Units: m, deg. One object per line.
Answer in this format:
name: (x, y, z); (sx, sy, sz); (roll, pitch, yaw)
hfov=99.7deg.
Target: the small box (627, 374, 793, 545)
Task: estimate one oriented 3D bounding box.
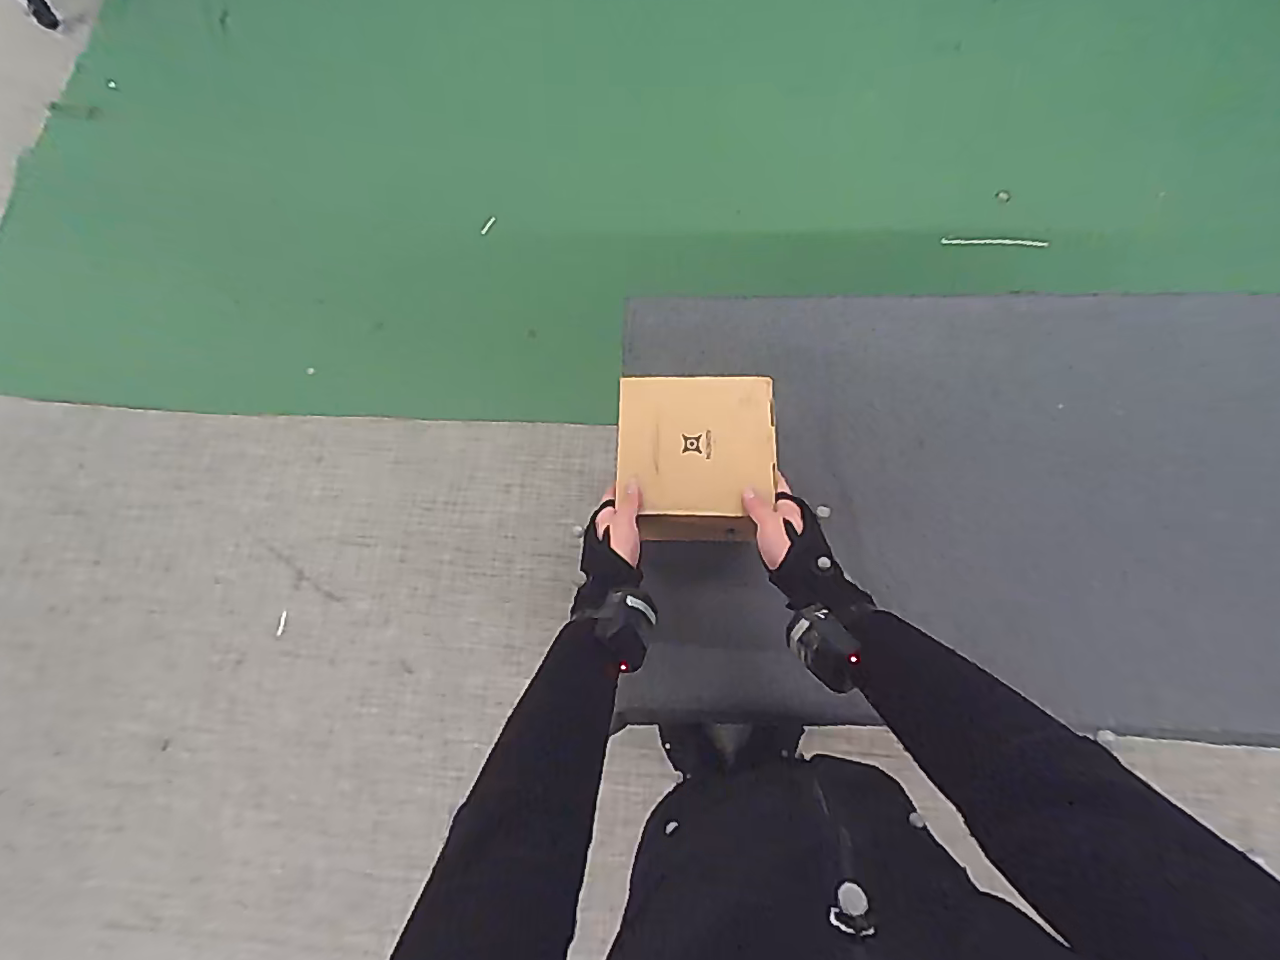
small box: (0.079, -0.017, 0.664); (0.179, 0.176, 0.168); (0, 72, 3)
